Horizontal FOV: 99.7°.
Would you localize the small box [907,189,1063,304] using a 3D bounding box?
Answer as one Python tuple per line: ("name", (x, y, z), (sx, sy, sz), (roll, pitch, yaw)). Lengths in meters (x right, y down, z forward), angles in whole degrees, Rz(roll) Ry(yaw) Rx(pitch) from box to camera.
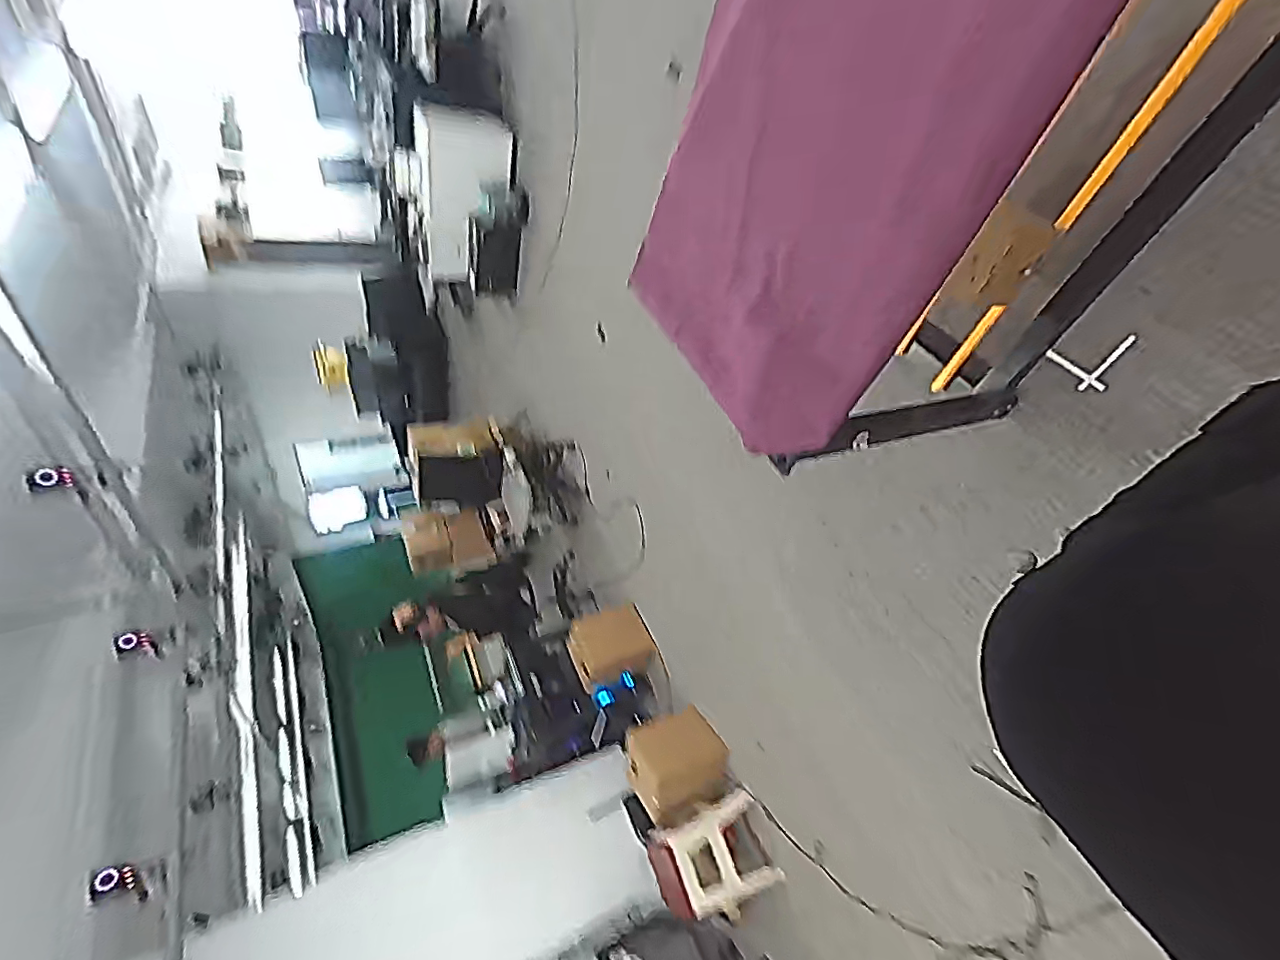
("small box", (0.709, -0.480, 1.120), (0.179, 0.176, 0.168), (54, 144, 35))
